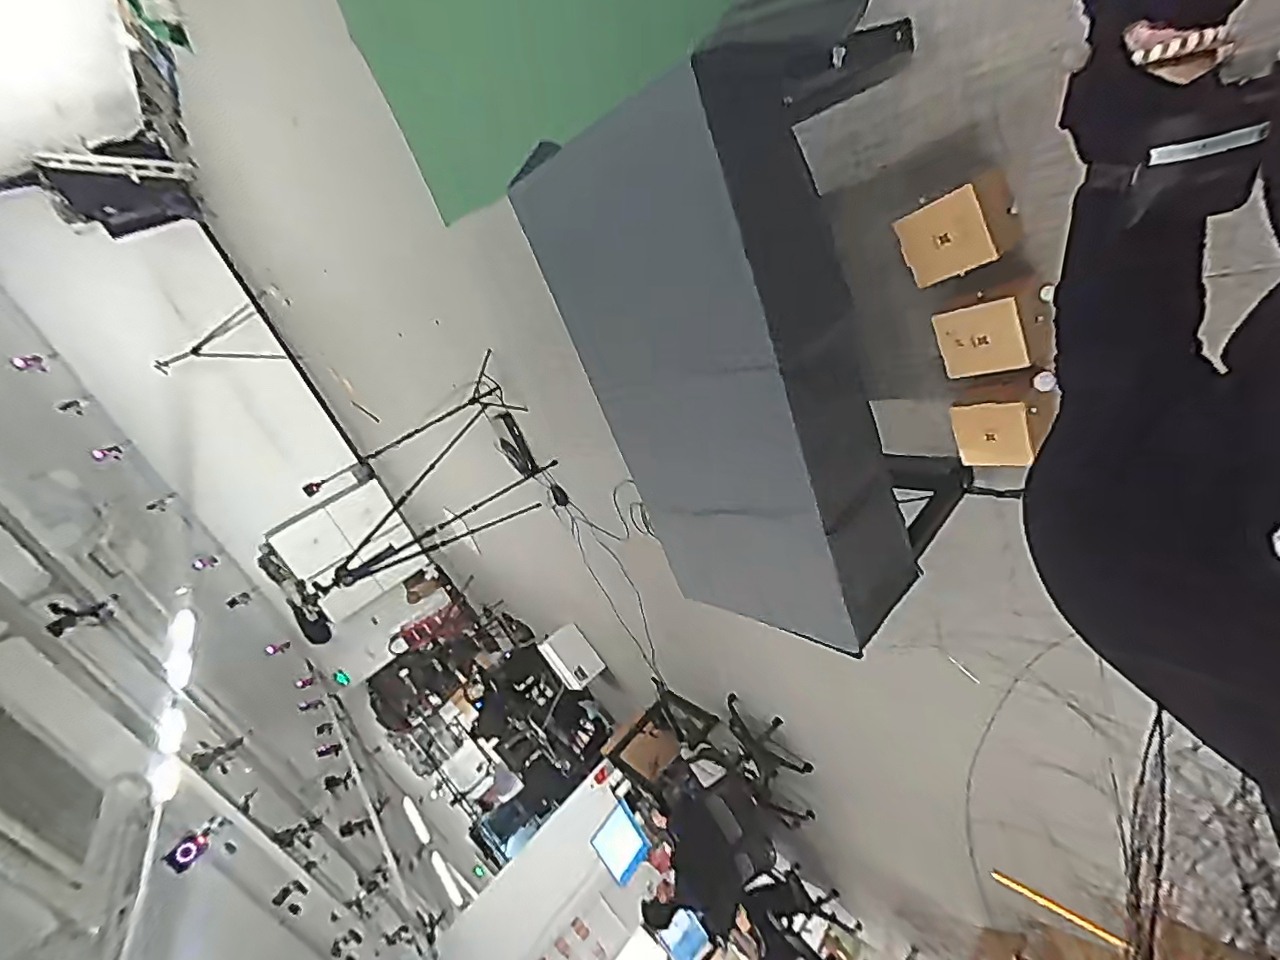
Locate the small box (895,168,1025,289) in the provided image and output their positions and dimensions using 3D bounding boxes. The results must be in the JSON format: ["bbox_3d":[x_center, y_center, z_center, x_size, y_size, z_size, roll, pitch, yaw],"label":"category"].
[{"bbox_3d":[0.720,-0.564,1.217,0.179,0.176,0.168,-8,115,58],"label":"small box"}]
